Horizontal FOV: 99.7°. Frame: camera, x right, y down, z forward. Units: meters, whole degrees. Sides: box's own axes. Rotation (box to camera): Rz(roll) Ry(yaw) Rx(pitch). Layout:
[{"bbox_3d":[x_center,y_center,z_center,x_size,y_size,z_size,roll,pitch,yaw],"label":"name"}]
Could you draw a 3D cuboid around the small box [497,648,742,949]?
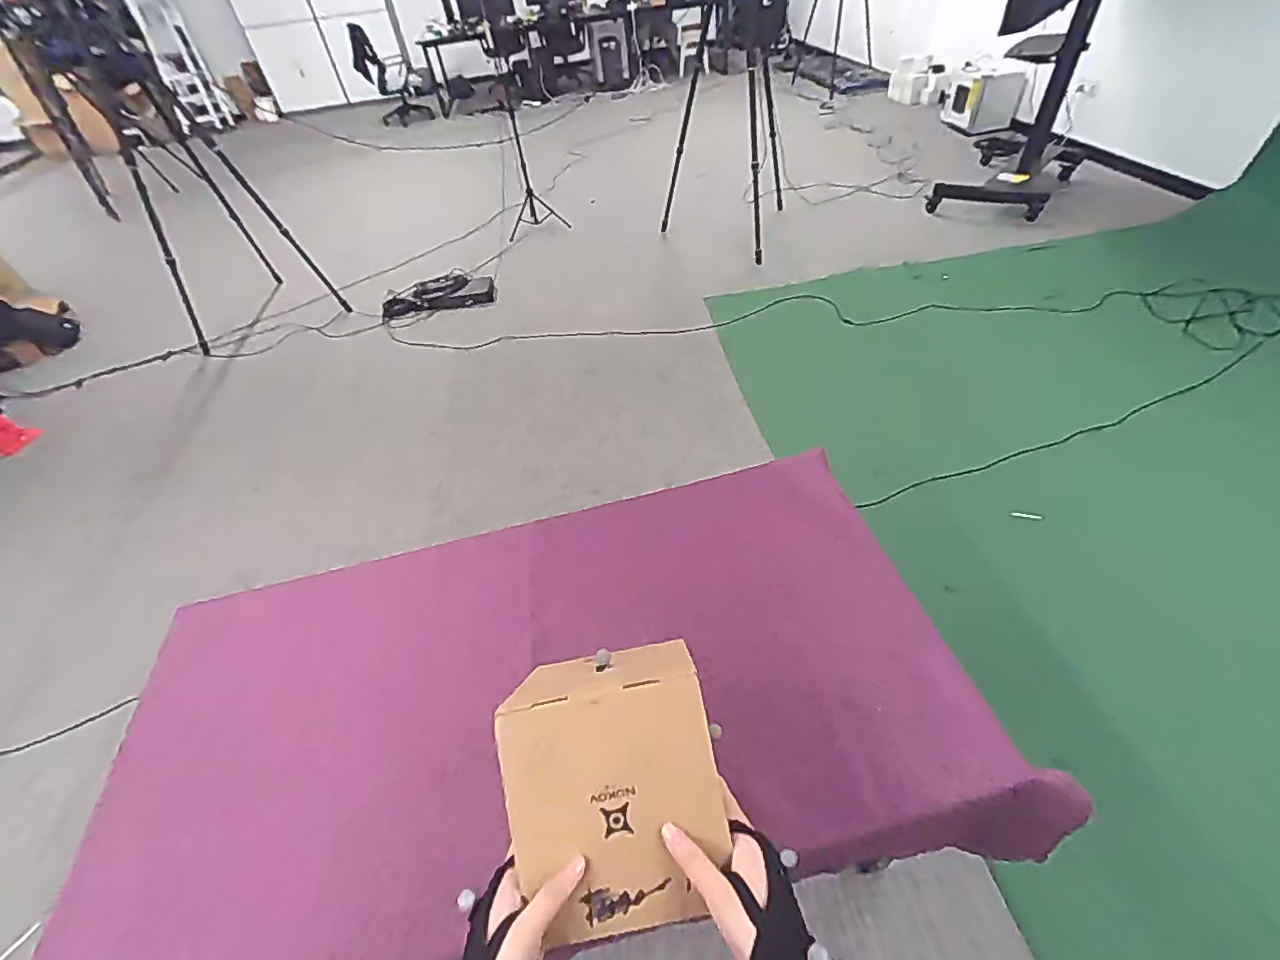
[{"bbox_3d":[-0.017,0.261,0.492,0.168,0.176,0.179,-11,83,1],"label":"small box"}]
